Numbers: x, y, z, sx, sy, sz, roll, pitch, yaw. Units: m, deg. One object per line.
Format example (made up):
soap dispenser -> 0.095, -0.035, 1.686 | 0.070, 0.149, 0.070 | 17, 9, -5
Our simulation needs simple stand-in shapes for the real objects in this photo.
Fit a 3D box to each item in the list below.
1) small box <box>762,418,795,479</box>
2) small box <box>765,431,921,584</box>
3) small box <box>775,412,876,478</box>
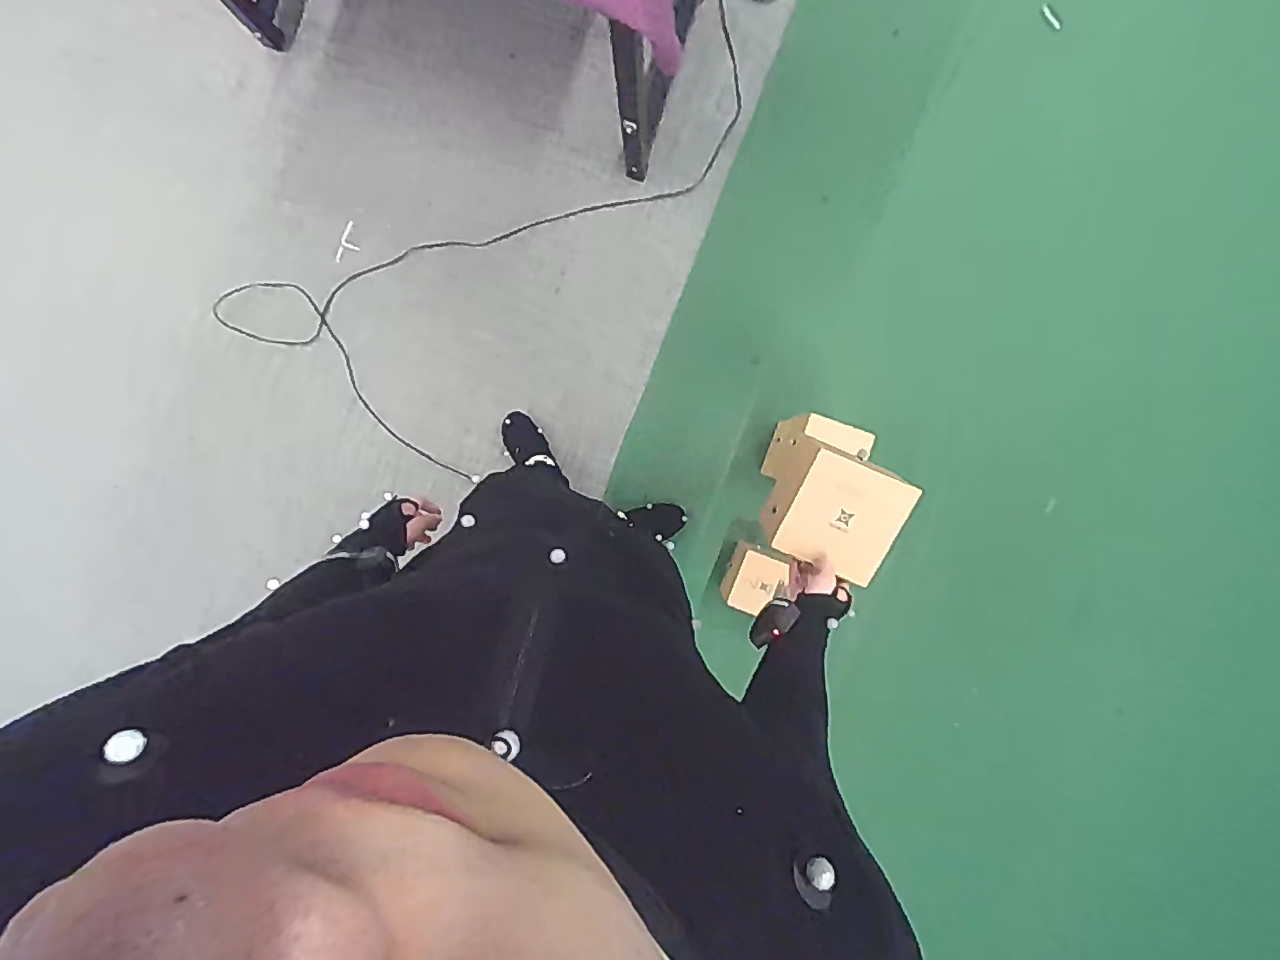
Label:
small box -> 0.462, -0.065, 1.526 | 0.179, 0.176, 0.168 | 20, 93, -1
small box -> 0.317, 0.036, 0.891 | 0.168, 0.176, 0.179 | 24, 104, 1
small box -> 0.455, -0.059, 1.361 | 0.168, 0.176, 0.179 | 20, 94, 0
